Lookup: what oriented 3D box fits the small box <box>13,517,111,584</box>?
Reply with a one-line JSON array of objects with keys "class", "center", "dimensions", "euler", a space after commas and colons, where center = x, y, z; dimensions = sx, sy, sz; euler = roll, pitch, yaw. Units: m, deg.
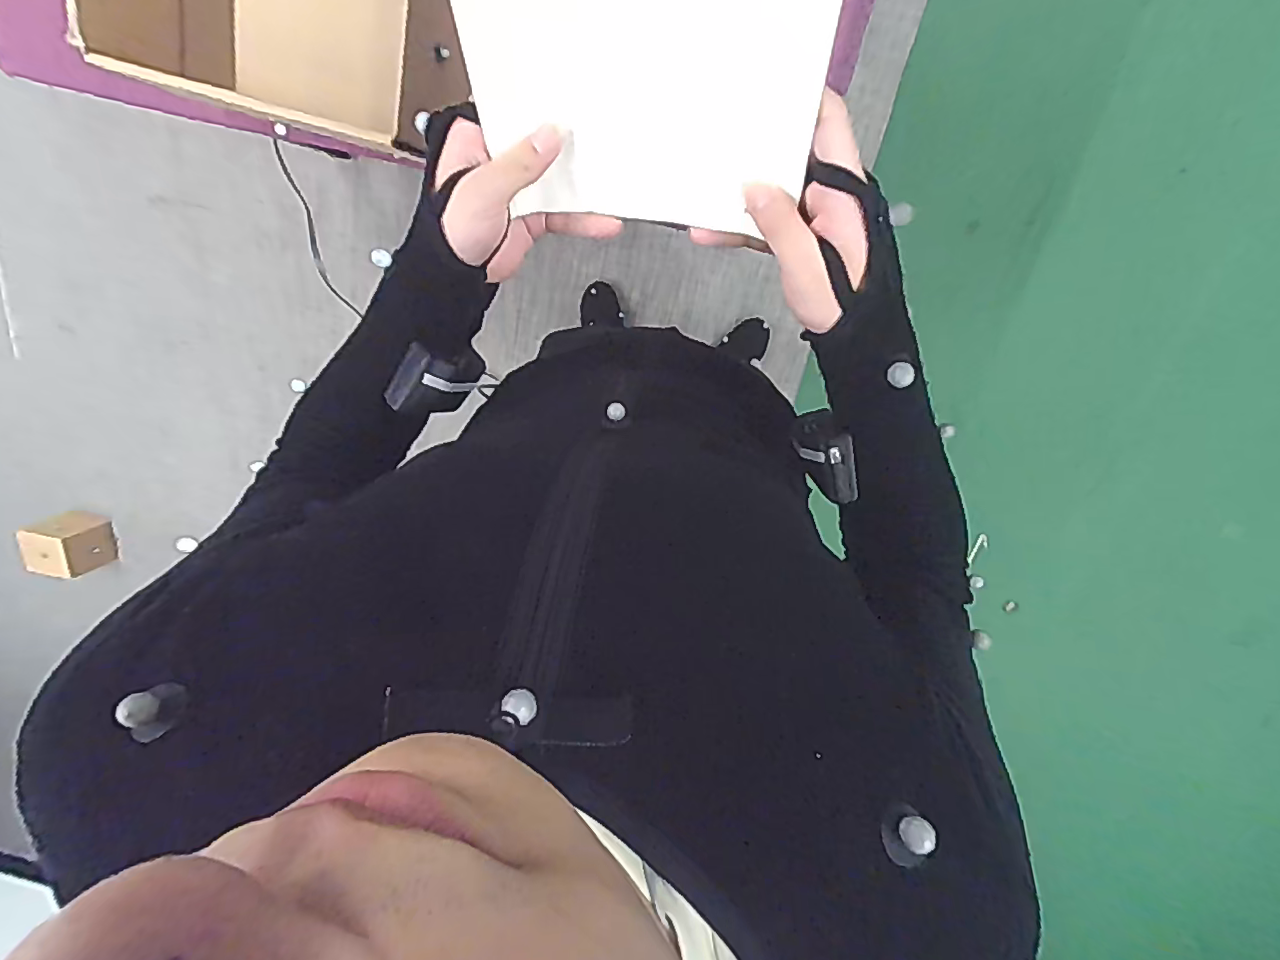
[{"class": "small box", "center": [-2.071, 0.248, 1.951], "dimensions": [0.179, 0.176, 0.168], "euler": [11, 110, 4]}]

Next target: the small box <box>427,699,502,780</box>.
[{"class": "small box", "center": [-0.645, 0.963, 2.014], "dimensions": [0.168, 0.176, 0.179], "euler": [44, 109, -9]}]
